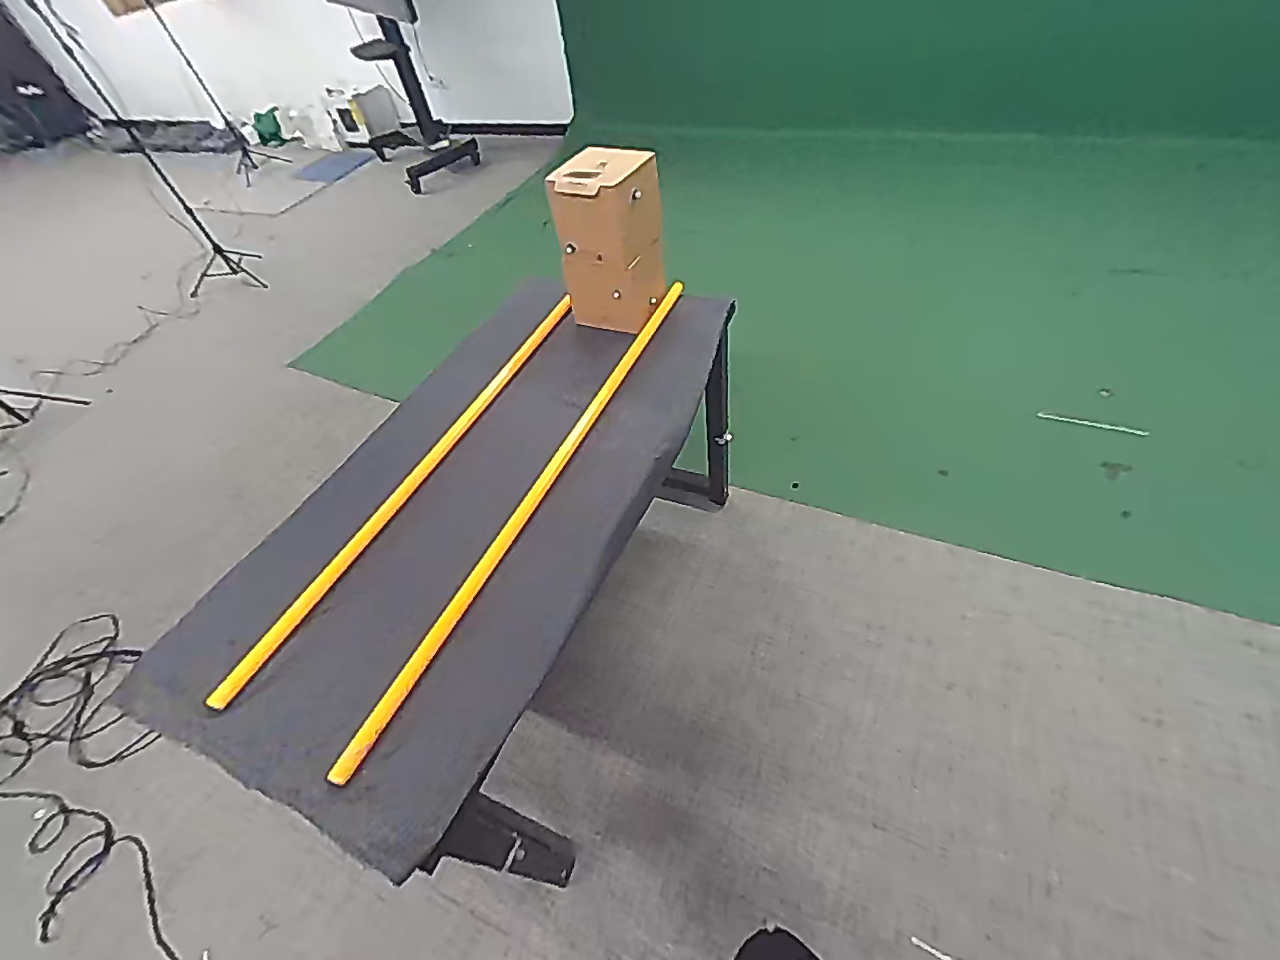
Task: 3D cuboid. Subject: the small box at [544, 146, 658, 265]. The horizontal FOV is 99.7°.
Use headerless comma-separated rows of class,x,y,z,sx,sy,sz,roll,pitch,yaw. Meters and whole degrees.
small box,-0.071,-0.580,1.147,0.168,0.176,0.179,19,56,22
